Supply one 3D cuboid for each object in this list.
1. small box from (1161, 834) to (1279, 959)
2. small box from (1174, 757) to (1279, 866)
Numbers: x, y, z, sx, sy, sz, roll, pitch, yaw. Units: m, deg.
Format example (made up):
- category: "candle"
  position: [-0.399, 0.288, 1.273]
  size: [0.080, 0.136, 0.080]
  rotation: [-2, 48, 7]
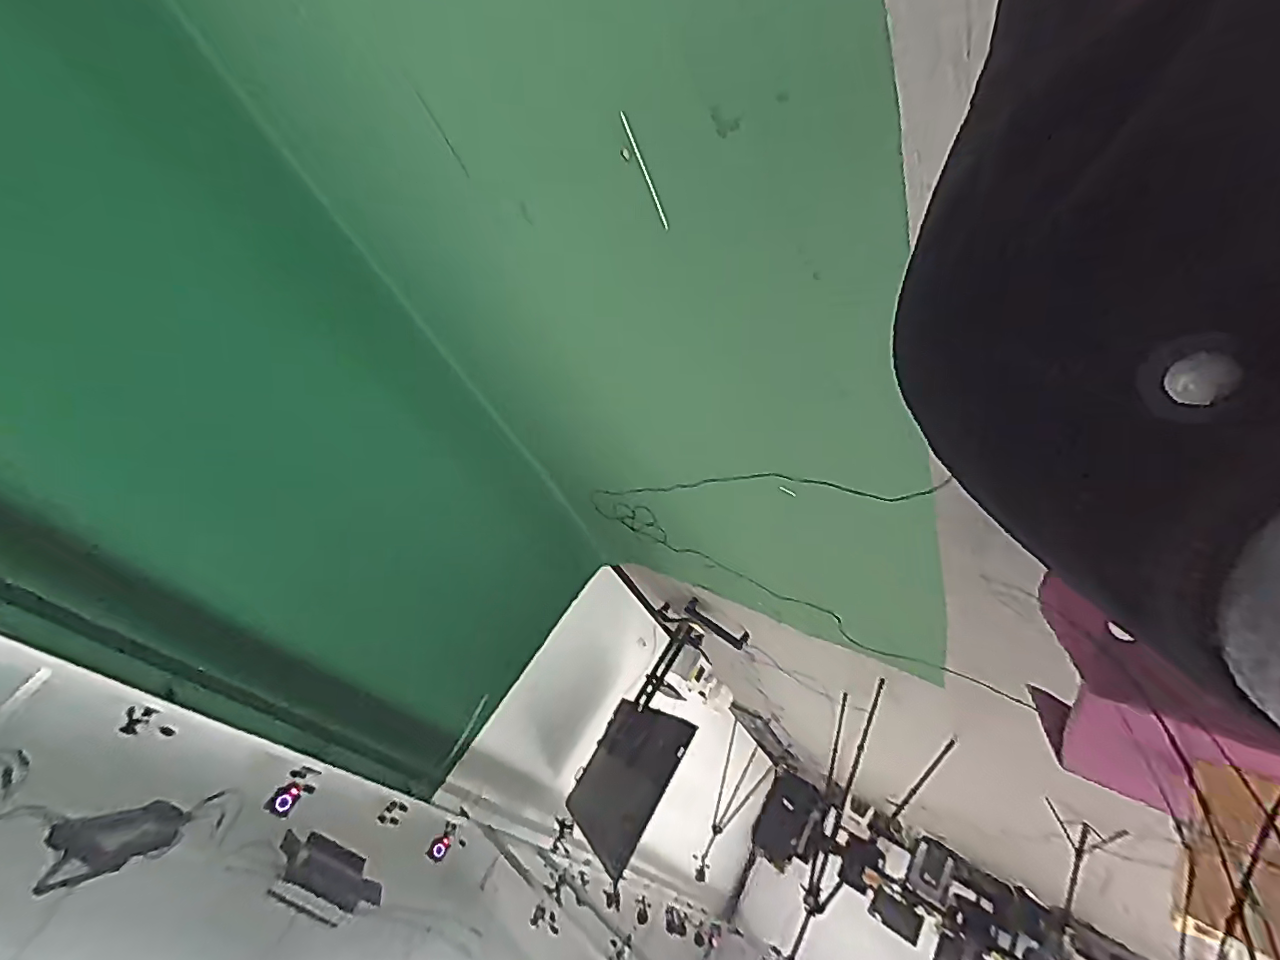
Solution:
- category: "small box"
  position: [1.222, 0.864, 1.114]
  size: [0.179, 0.176, 0.168]
  rotation: [14, 148, 41]
- category: "small box"
  position: [1.313, 0.745, 1.182]
  size: [0.179, 0.176, 0.168]
  rotation: [12, 147, 42]
